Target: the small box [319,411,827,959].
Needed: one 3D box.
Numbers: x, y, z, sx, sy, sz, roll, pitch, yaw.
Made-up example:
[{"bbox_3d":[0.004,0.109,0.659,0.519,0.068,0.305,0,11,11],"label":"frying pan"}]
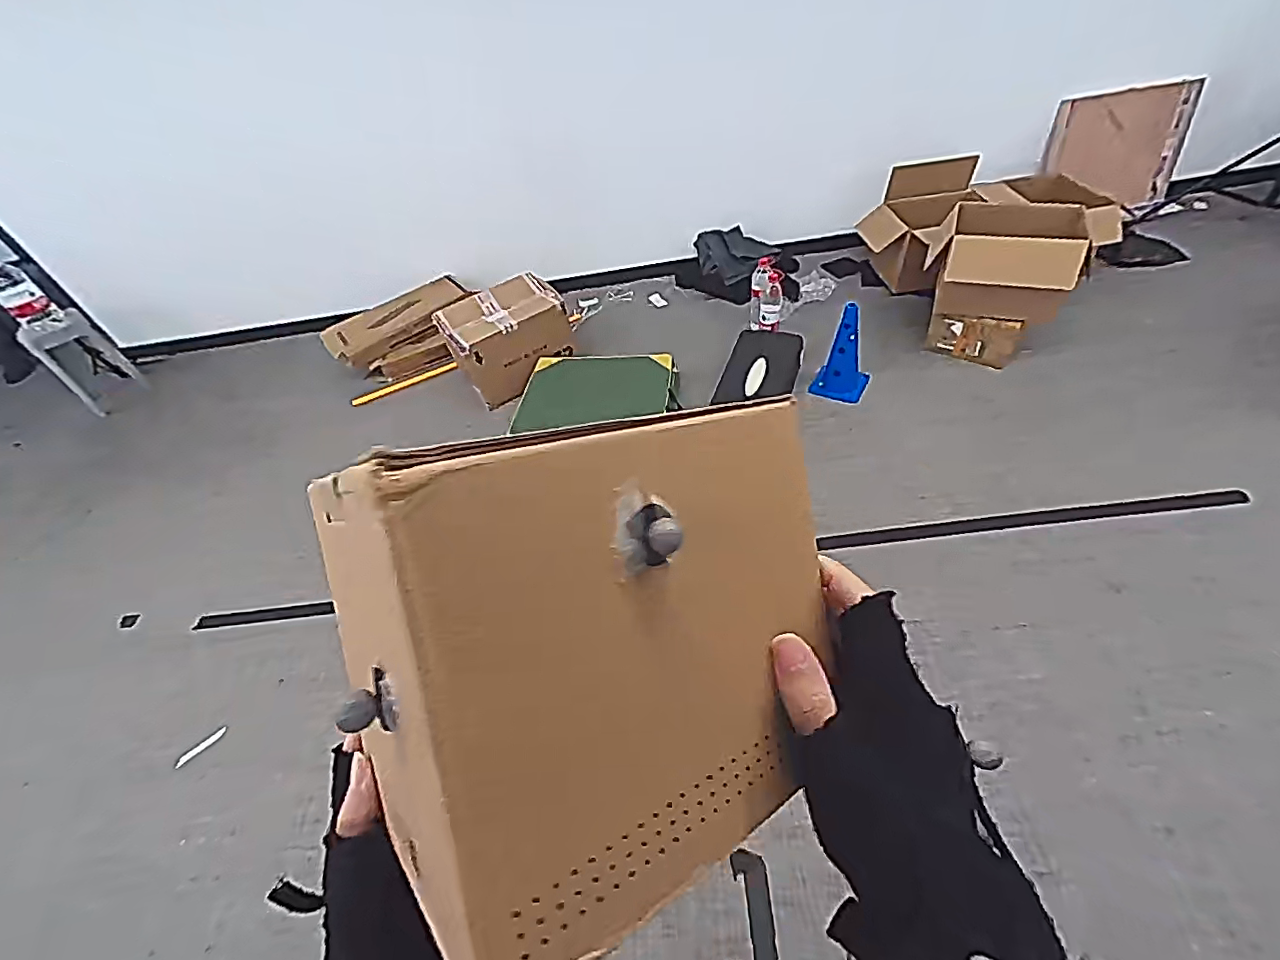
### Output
[{"bbox_3d":[-0.033,0.072,0.260,0.179,0.176,0.168,-12,4,-35],"label":"small box"}]
